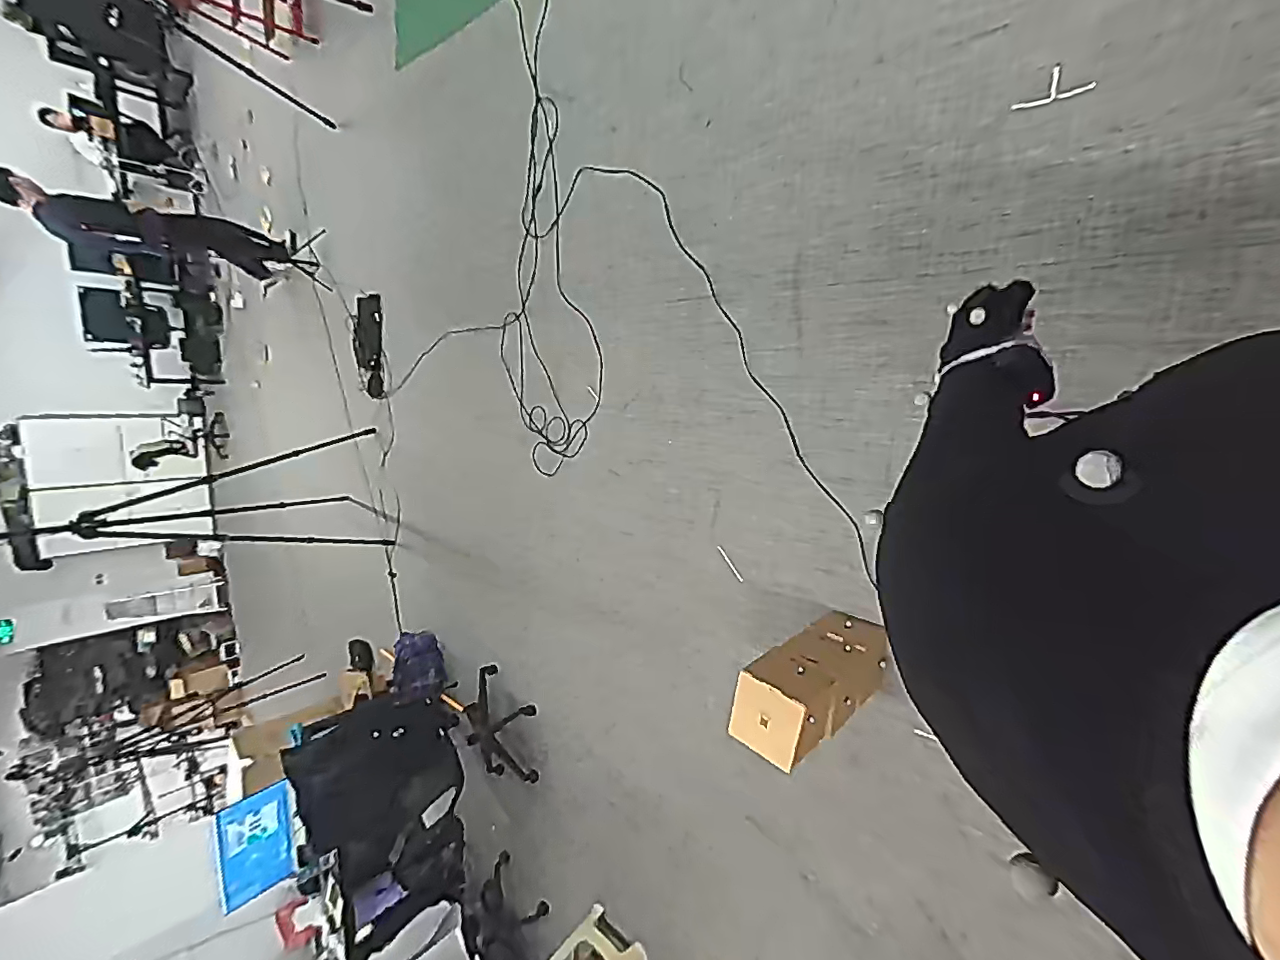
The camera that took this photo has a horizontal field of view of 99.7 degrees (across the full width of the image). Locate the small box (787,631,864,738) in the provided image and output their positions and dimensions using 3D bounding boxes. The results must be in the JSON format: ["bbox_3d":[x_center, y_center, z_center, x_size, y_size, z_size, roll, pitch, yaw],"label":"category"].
[{"bbox_3d":[0.461,0.513,1.391,0.168,0.176,0.179,14,106,41],"label":"small box"}]

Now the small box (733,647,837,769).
[{"bbox_3d":[0.345,0.528,1.278,0.168,0.176,0.179,20,109,40],"label":"small box"}]

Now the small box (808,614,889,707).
[{"bbox_3d":[0.578,0.491,1.509,0.168,0.176,0.179,10,102,45],"label":"small box"}]
